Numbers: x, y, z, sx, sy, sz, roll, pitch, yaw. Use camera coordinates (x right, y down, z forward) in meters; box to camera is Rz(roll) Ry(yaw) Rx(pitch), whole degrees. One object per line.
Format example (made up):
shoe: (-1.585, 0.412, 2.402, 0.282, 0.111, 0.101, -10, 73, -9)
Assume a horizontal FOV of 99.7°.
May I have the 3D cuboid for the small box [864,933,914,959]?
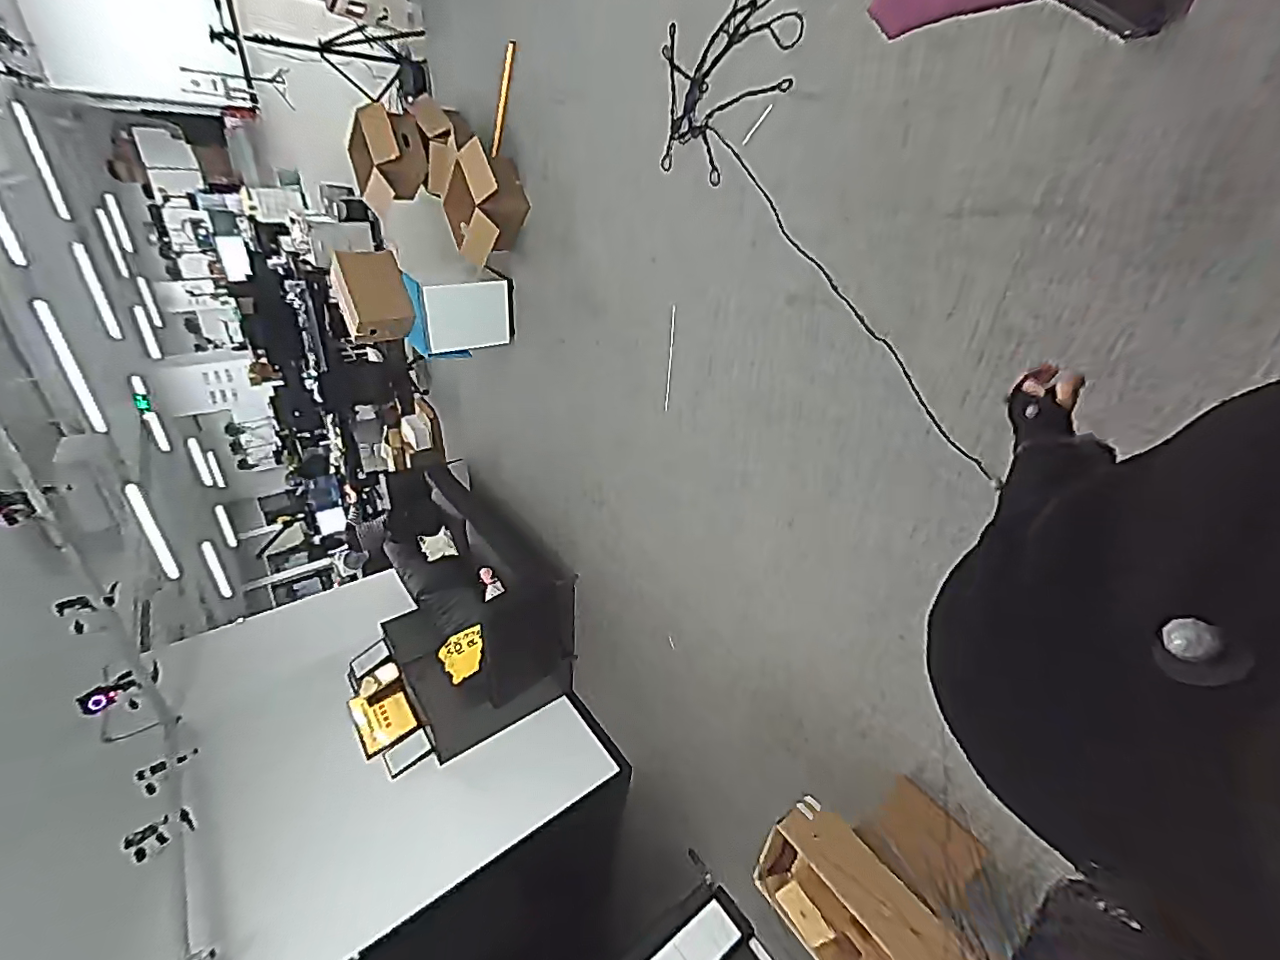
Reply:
small box: (0.716, 1.469, 1.549, 0.168, 0.176, 0.179, 33, 131, 43)
